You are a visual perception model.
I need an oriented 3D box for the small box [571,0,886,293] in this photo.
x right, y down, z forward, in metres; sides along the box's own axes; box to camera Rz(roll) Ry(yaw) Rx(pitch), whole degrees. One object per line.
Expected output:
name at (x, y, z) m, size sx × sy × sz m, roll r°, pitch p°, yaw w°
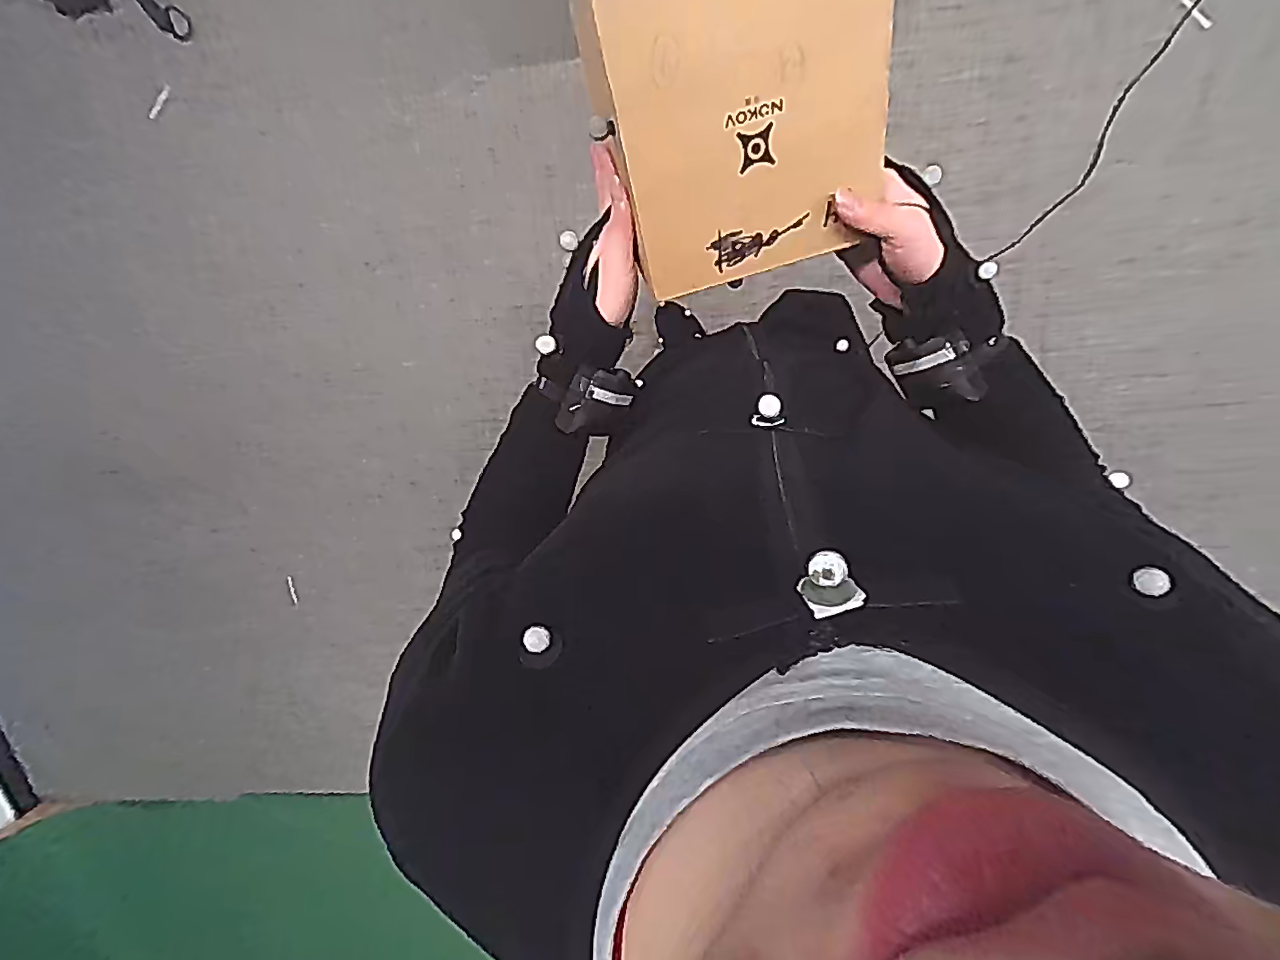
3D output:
small box at (0.054, -0.268, 0.391) m, size 0.168 × 0.176 × 0.179 m, roll -15°, pitch 131°, yaw 1°
